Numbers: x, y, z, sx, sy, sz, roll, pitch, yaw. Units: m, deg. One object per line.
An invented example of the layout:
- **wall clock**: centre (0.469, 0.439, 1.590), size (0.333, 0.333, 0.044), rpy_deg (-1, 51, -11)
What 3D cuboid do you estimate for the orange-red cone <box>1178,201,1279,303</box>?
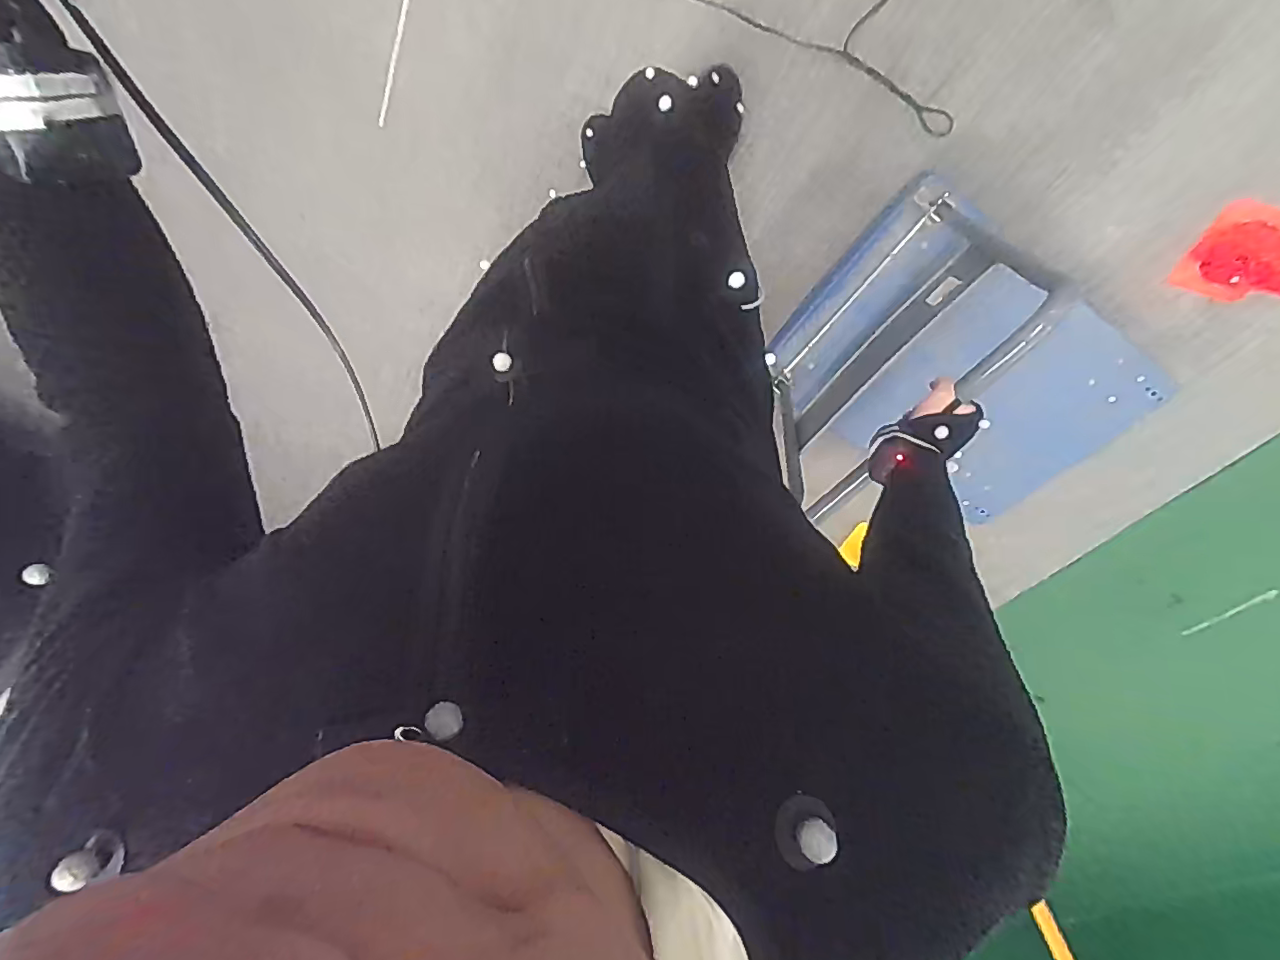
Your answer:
- **orange-red cone**: centre (1.404, -0.430, 1.136), size (0.198, 0.360, 0.199), rpy_deg (15, 126, -5)
